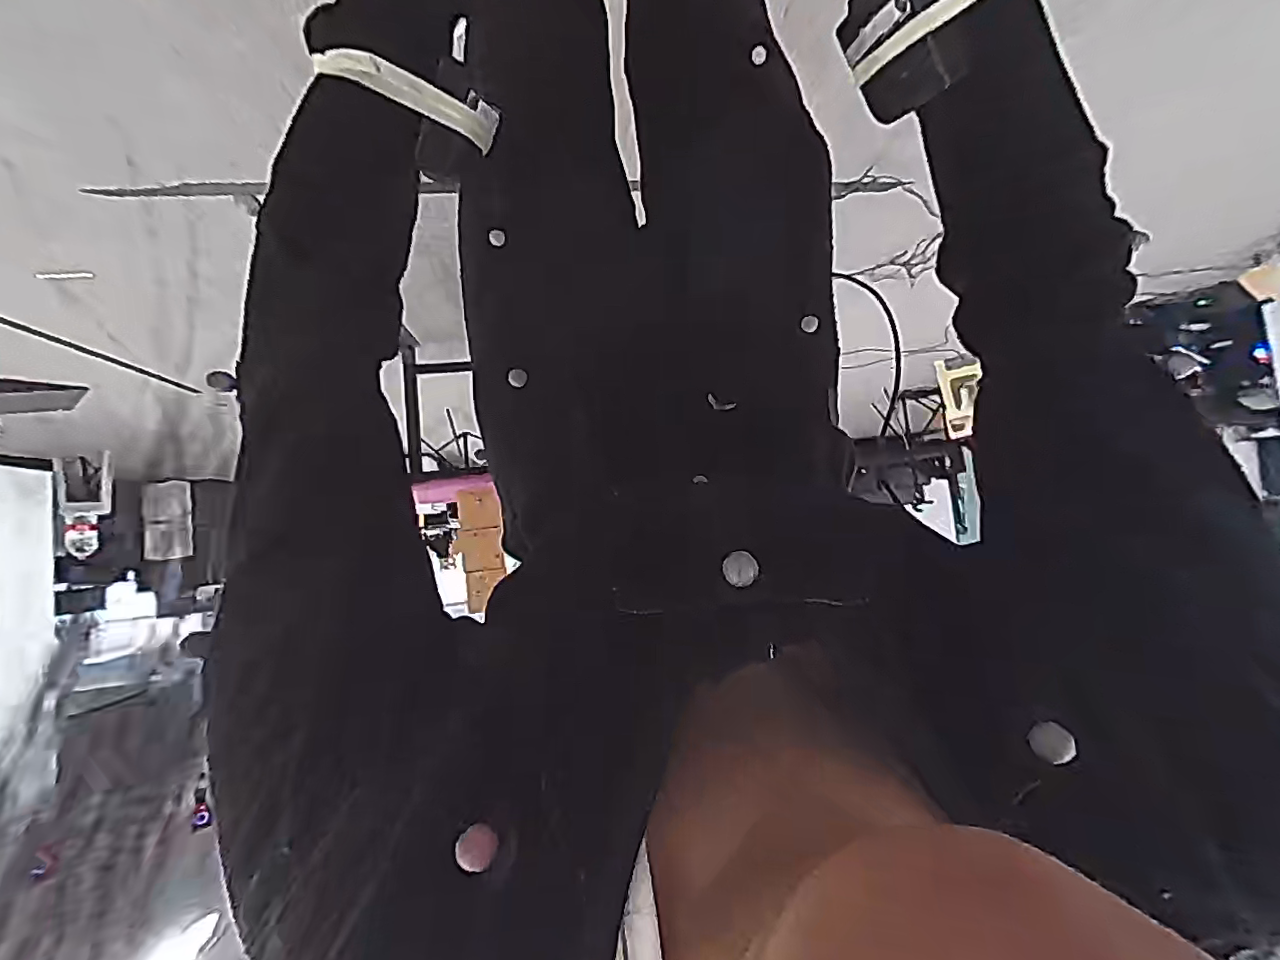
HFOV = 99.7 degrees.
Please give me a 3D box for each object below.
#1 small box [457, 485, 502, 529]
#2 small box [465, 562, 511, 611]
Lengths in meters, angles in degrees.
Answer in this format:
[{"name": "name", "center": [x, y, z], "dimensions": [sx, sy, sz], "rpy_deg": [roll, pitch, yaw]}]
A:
[{"name": "small box", "center": [-0.669, 0.112, 2.265], "dimensions": [0.168, 0.176, 0.179], "rpy_deg": [-6, 176, -14]}, {"name": "small box", "center": [-0.630, 0.436, 2.237], "dimensions": [0.168, 0.176, 0.179], "rpy_deg": [-4, 177, -16]}]
